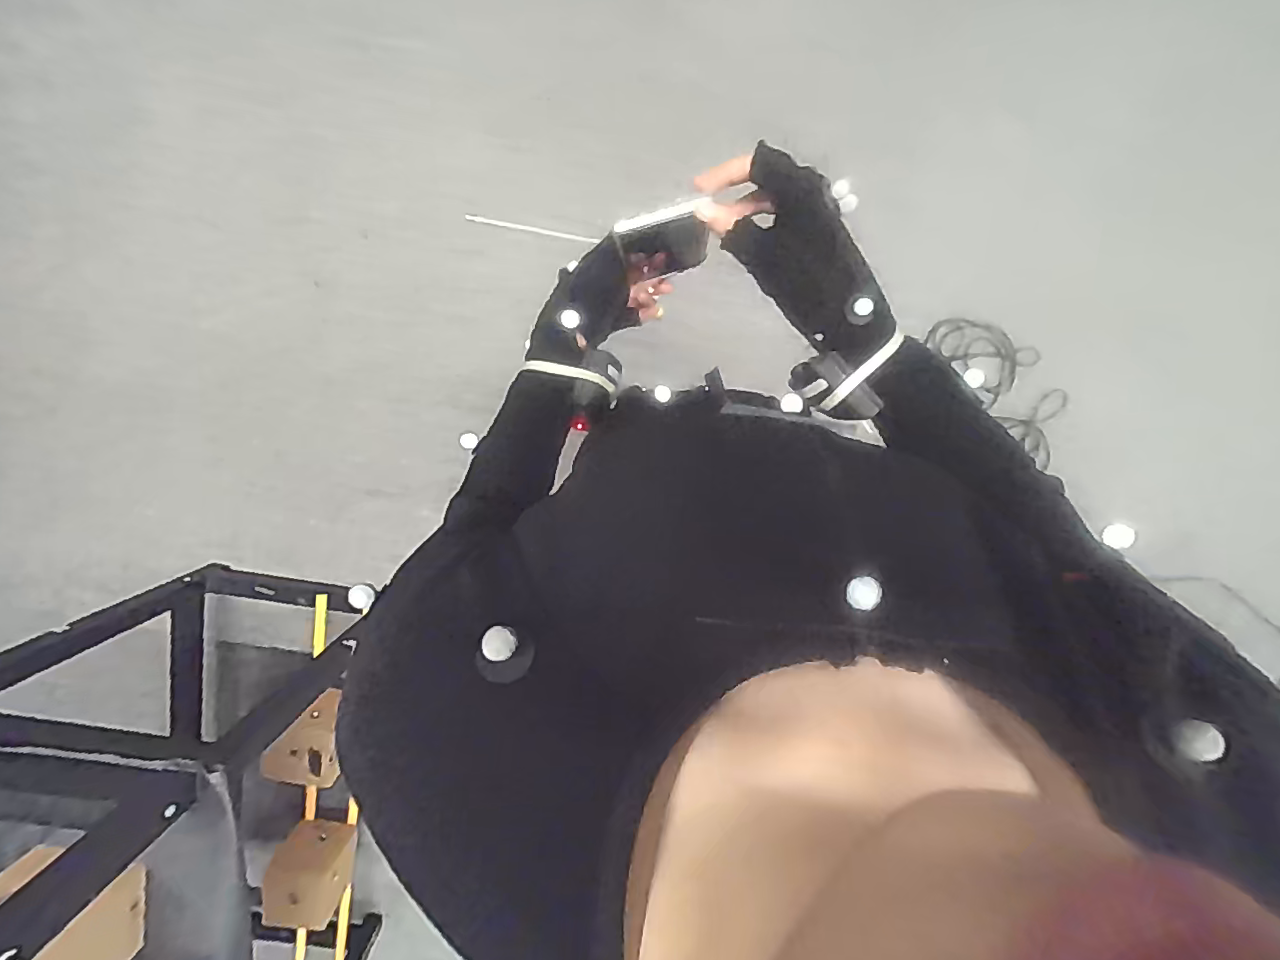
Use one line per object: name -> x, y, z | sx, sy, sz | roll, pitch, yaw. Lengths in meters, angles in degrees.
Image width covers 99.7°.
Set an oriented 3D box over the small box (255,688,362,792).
small box -> -0.852, 0.668, 1.405 | 0.179, 0.176, 0.168 | 12, 100, -3
